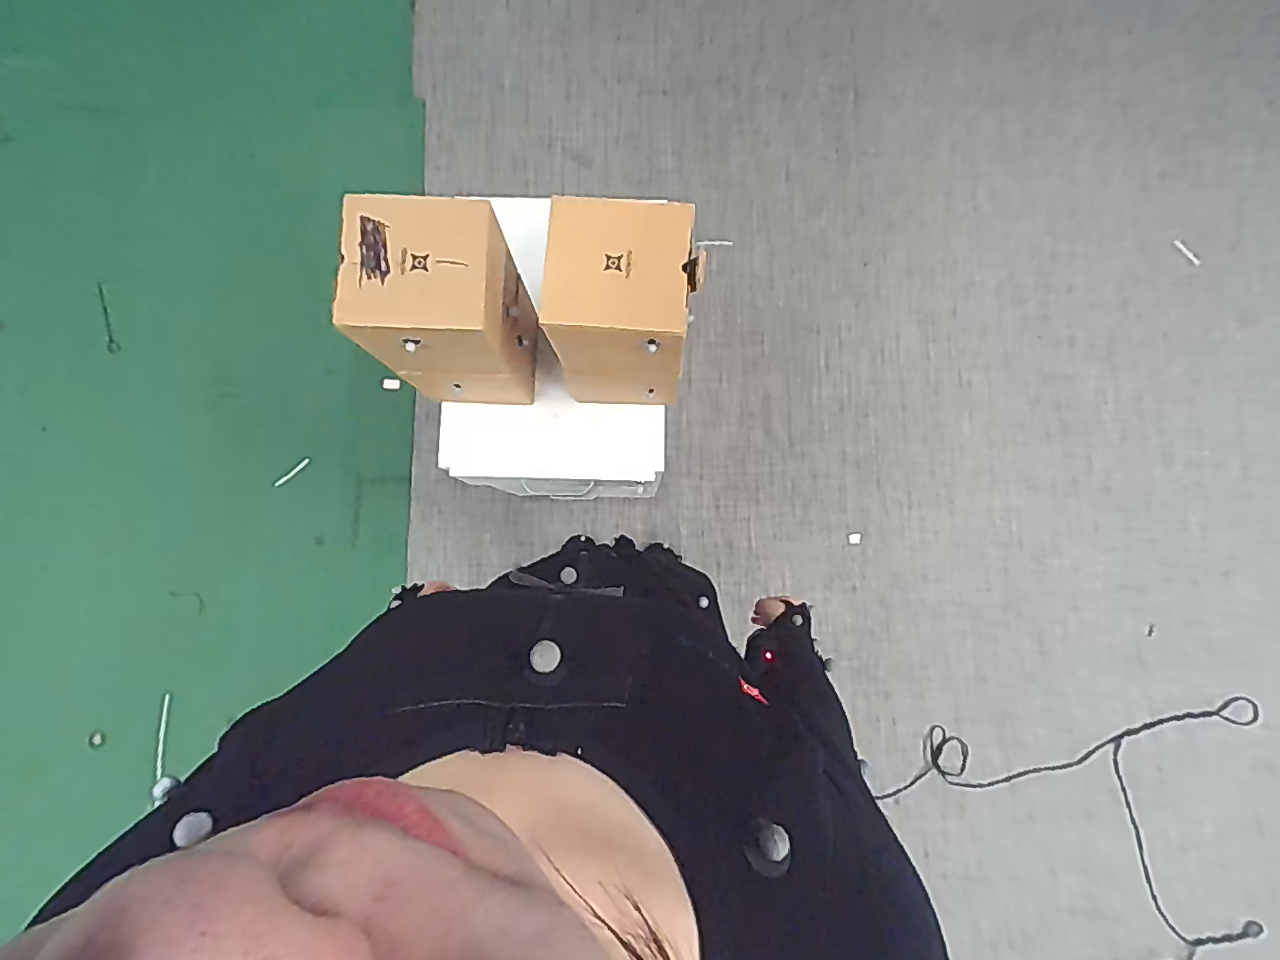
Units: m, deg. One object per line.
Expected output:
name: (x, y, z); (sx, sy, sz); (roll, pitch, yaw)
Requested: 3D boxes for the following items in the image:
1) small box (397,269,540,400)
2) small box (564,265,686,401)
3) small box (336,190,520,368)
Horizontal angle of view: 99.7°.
small box: (-0.267, -0.230, 0.877); (0.179, 0.176, 0.168); (2, 85, -2)
small box: (-0.021, -0.229, 0.878); (0.179, 0.176, 0.168); (2, 83, 2)
small box: (-0.264, -0.252, 0.712); (0.179, 0.176, 0.168); (1, 84, -2)
